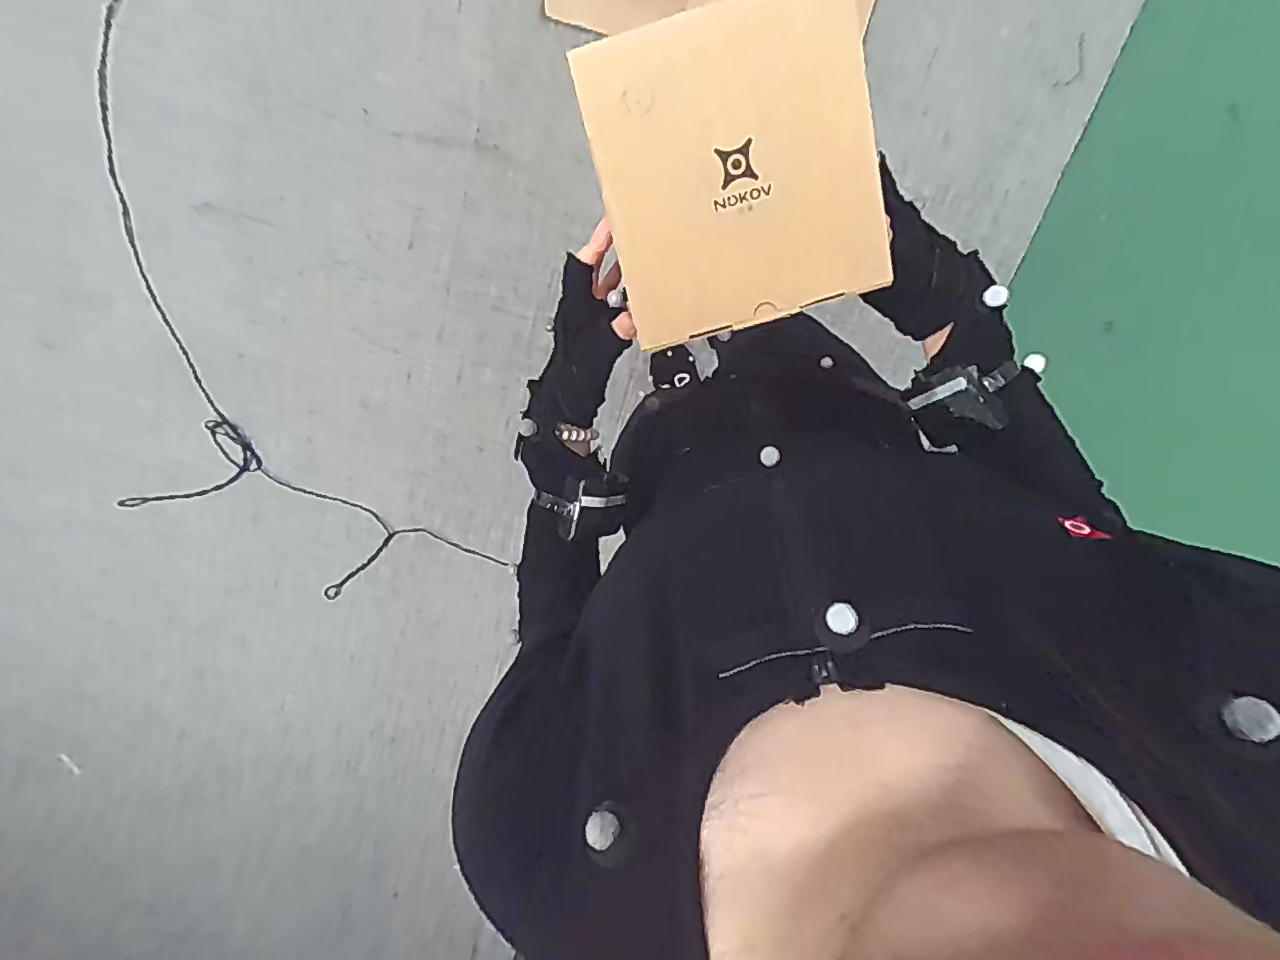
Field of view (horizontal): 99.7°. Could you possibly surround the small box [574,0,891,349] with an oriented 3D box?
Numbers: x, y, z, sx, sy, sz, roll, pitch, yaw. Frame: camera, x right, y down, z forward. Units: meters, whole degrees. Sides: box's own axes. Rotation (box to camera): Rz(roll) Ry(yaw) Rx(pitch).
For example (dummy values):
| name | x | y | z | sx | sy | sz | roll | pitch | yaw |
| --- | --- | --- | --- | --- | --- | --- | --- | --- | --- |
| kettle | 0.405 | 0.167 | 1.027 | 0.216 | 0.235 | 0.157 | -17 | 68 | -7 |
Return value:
| name | x | y | z | sx | sy | sz | roll | pitch | yaw |
| --- | --- | --- | --- | --- | --- | --- | --- | --- | --- |
| small box | 0.059 | -0.205 | 0.404 | 0.168 | 0.176 | 0.179 | -15 | 106 | 5 |
